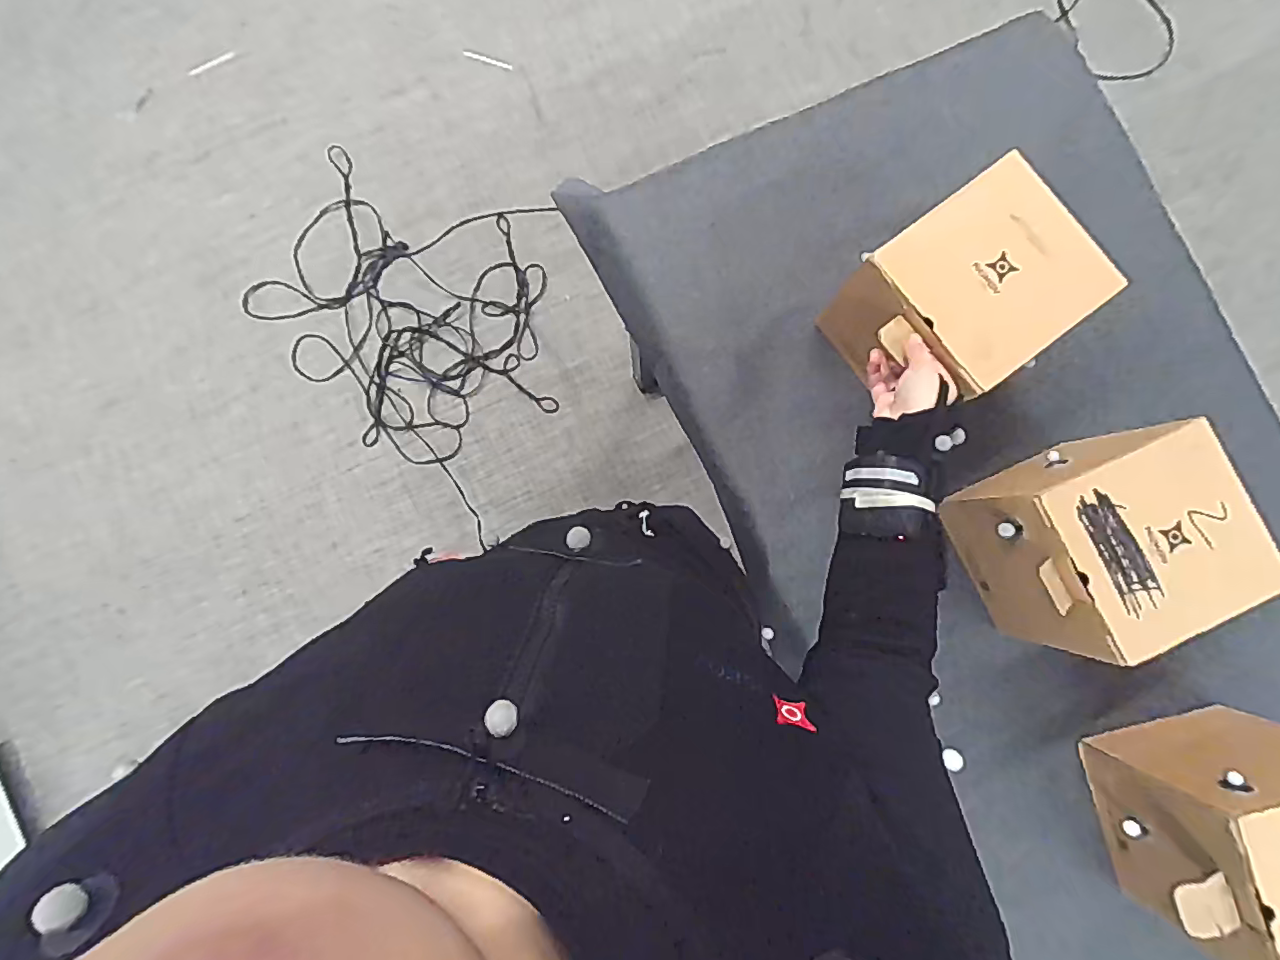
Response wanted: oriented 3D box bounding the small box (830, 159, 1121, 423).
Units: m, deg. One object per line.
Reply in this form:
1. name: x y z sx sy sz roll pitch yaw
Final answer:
1. small box: 0.330 -0.182 0.580 0.179 0.176 0.168 -37 87 -3

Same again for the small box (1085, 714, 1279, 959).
1. small box: 0.605 0.353 0.532 0.179 0.176 0.168 -14 85 0
